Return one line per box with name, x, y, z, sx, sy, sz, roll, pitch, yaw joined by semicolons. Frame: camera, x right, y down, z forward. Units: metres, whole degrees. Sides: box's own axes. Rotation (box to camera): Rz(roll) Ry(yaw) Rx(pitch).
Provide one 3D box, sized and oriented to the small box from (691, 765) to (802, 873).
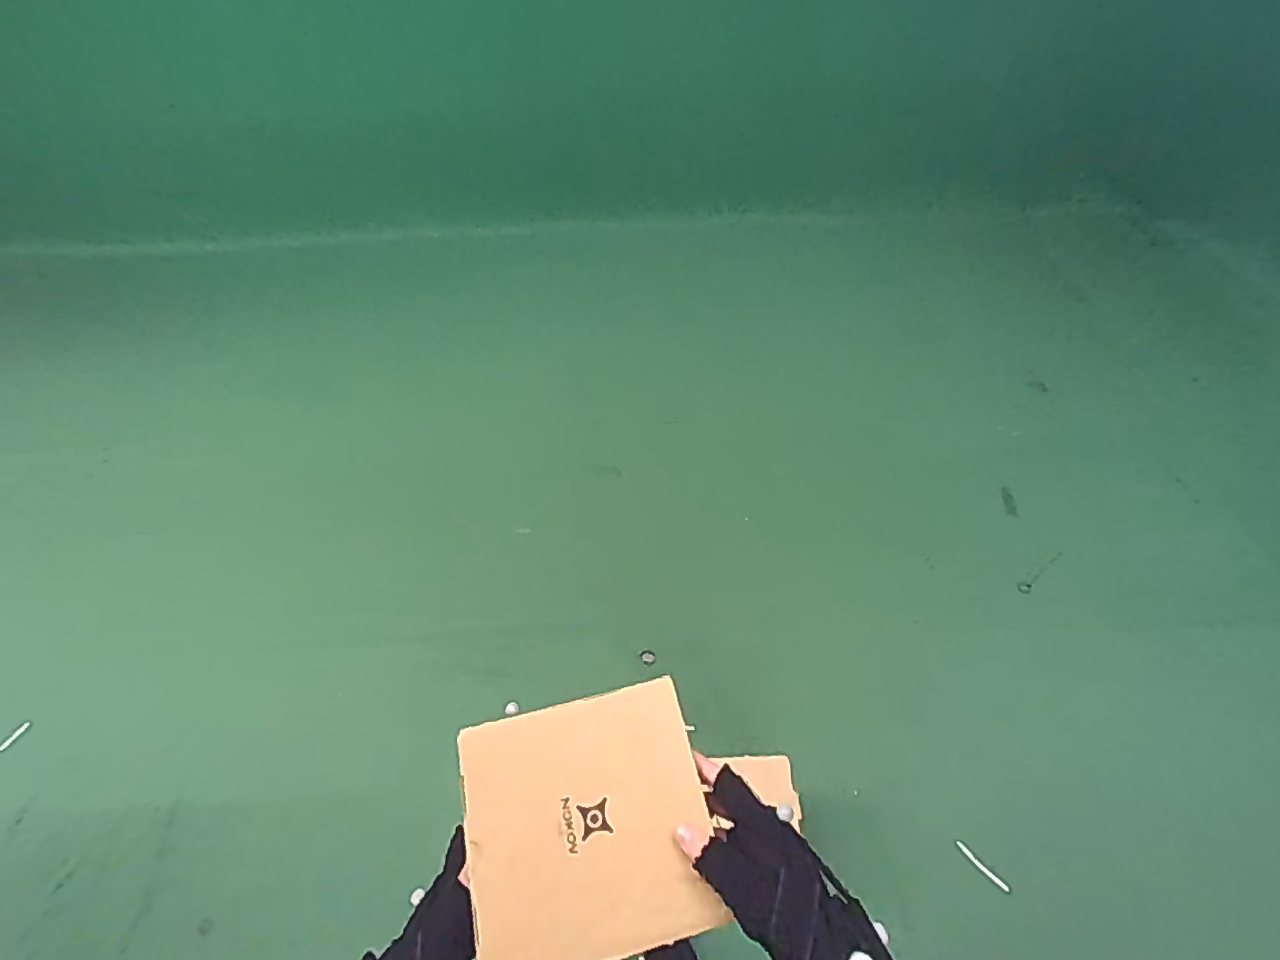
small box;0.195;0.657;1.046;0.179;0.176;0.168;-1;53;0
